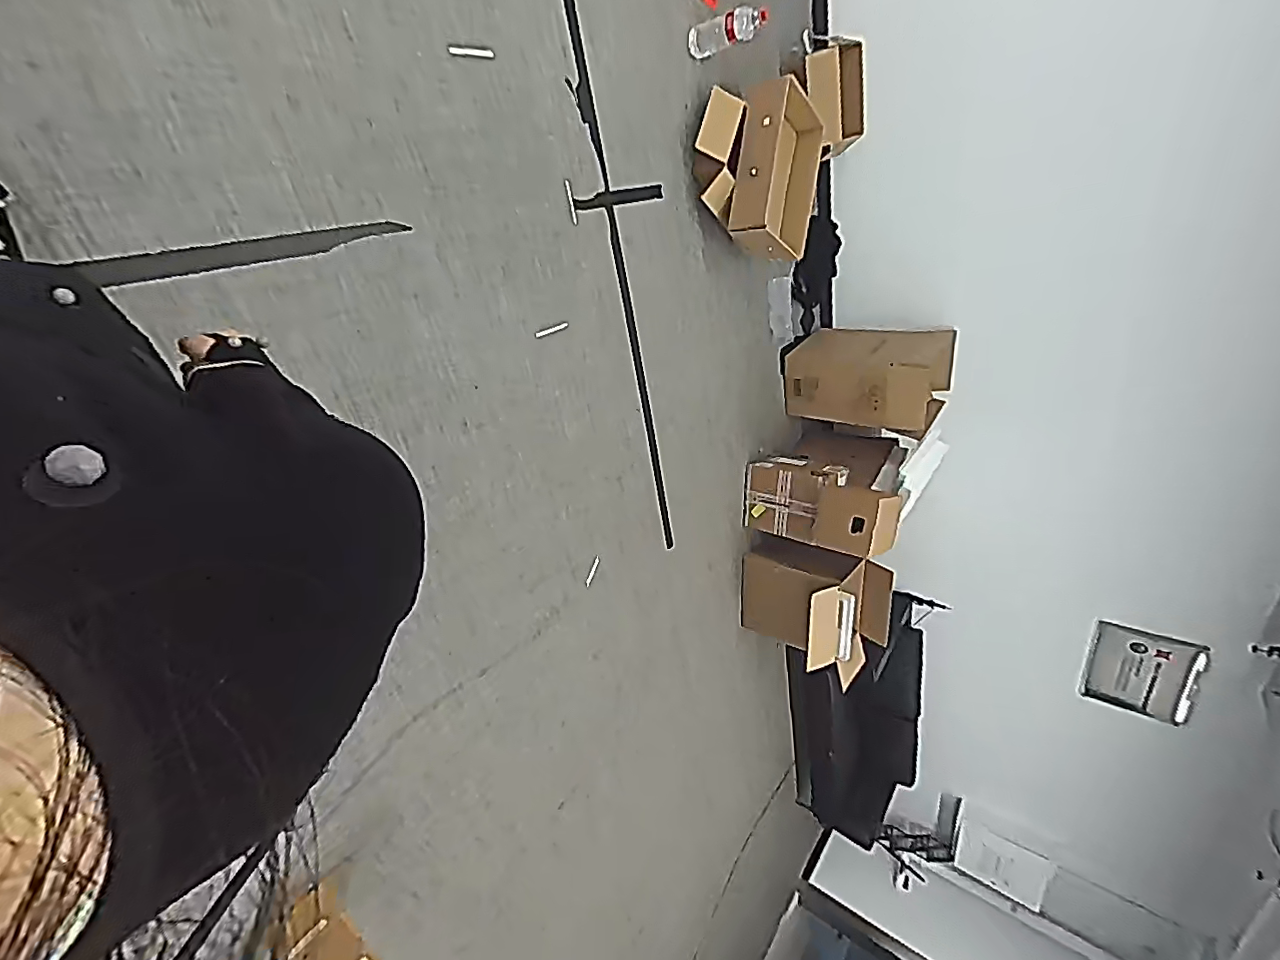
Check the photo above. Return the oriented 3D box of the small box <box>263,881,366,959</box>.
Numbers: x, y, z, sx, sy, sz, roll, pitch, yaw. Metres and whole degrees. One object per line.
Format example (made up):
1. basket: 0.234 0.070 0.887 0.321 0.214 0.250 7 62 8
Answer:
1. small box: -0.926 1.293 1.534 0.168 0.176 0.179 -38 127 -39

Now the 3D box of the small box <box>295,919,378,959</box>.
1. small box: -0.804 1.321 1.431 0.168 0.176 0.179 -38 128 -37
